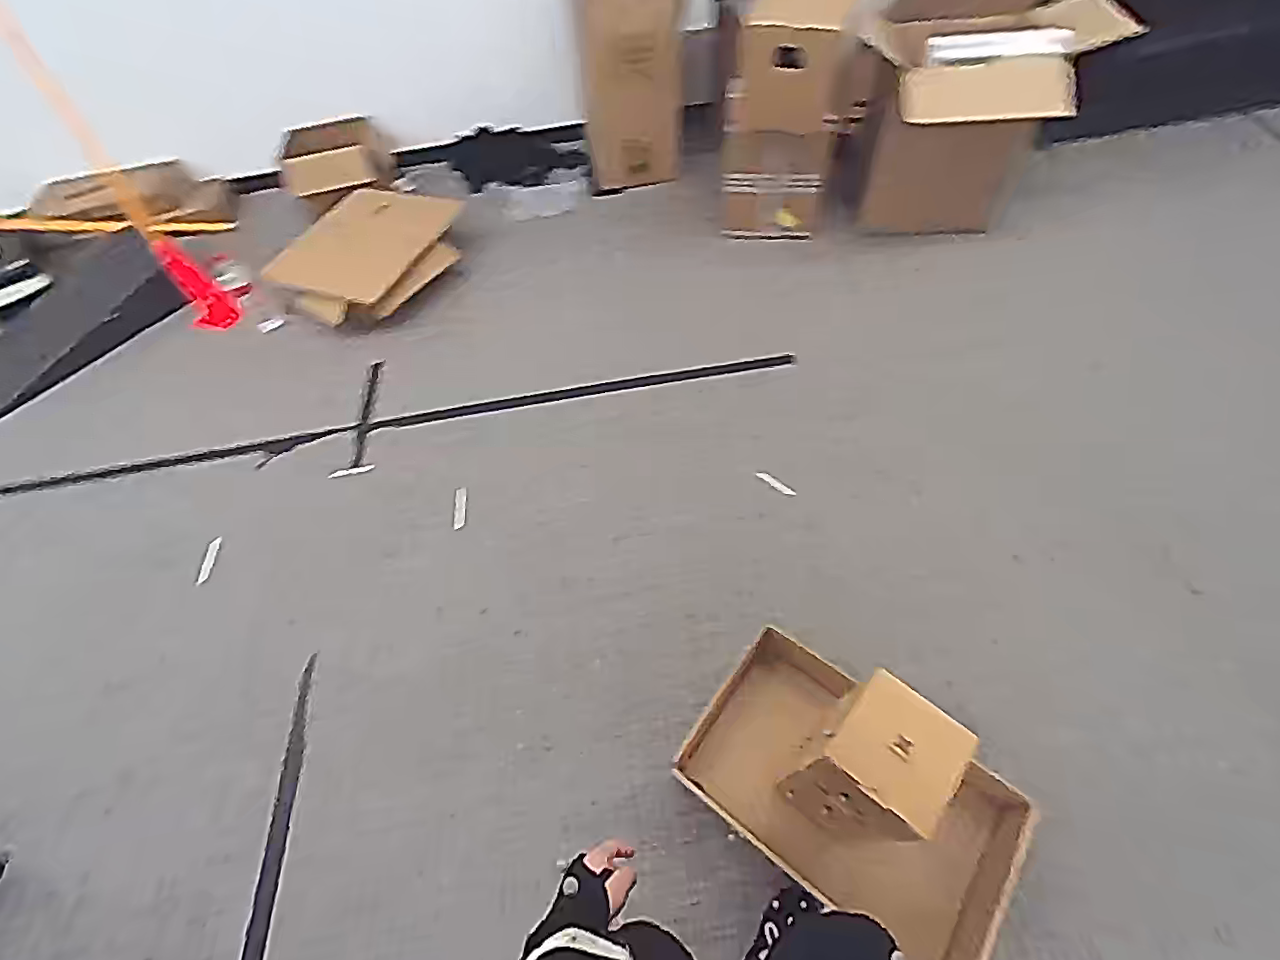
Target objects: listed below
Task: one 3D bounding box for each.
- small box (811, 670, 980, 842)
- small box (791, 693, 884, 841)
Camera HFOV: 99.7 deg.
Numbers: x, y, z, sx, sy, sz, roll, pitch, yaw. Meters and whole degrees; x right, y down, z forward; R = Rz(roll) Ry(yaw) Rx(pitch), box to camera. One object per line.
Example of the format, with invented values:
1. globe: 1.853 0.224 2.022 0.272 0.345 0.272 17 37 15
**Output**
1. small box: 0.402 0.449 0.882 0.168 0.176 0.179 36 66 24
2. small box: 0.402 0.541 1.017 0.168 0.176 0.179 37 67 24
